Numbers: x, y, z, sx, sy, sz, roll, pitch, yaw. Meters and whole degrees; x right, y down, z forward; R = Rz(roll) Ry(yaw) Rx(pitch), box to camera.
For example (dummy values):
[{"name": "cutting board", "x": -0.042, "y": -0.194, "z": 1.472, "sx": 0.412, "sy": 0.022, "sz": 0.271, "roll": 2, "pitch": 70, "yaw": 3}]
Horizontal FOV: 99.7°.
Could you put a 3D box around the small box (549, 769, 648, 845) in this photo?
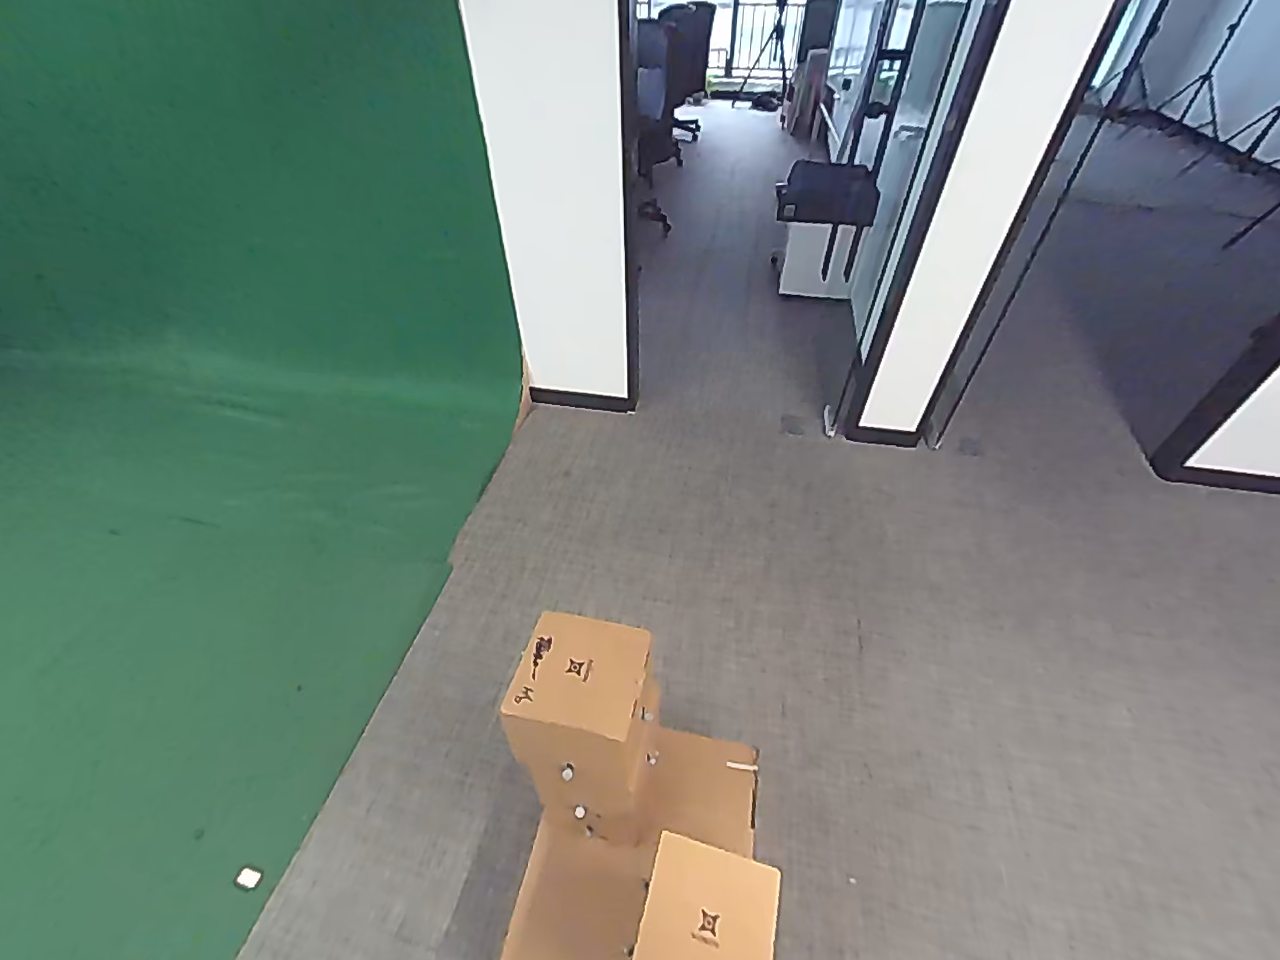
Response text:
[{"name": "small box", "x": -0.075, "y": 0.560, "z": 1.036, "sx": 0.168, "sy": 0.176, "sz": 0.179, "roll": 8, "pitch": 42, "yaw": 9}]

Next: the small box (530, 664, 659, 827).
[{"name": "small box", "x": -0.070, "y": 0.447, "z": 0.914, "sx": 0.168, "sy": 0.176, "sz": 0.179, "roll": 10, "pitch": 43, "yaw": 11}]

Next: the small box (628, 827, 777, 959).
[{"name": "small box", "x": 0.080, "y": 0.616, "z": 0.736, "sx": 0.168, "sy": 0.176, "sz": 0.179, "roll": 12, "pitch": 44, "yaw": 10}]
